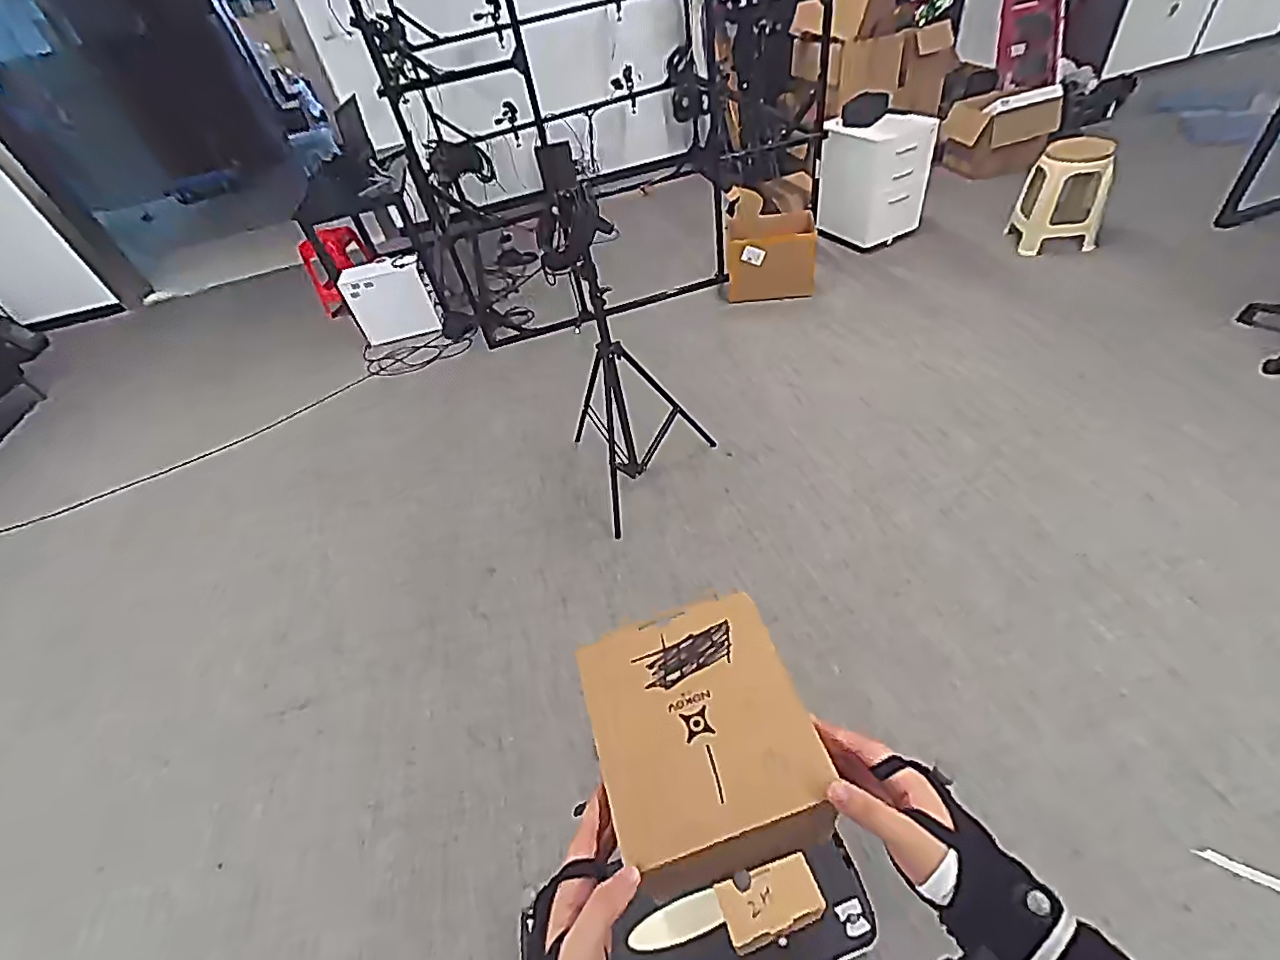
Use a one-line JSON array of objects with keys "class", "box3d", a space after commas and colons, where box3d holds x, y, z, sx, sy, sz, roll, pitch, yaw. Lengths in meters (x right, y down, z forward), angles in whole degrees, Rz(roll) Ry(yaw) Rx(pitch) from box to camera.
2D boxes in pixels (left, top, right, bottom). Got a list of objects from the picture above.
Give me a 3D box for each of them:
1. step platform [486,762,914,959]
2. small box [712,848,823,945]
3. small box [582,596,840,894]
[{"class": "step platform", "box3d": [0.097, 0.766, 0.938, 0.684, 0.204, 0.286, -18, 44, -7]}, {"class": "small box", "box3d": [0.215, 0.725, 1.002, 0.168, 0.176, 0.179, -20, 45, -6]}, {"class": "small box", "box3d": [0.057, 0.242, 0.496, 0.168, 0.176, 0.179, -18, 46, -4]}]
